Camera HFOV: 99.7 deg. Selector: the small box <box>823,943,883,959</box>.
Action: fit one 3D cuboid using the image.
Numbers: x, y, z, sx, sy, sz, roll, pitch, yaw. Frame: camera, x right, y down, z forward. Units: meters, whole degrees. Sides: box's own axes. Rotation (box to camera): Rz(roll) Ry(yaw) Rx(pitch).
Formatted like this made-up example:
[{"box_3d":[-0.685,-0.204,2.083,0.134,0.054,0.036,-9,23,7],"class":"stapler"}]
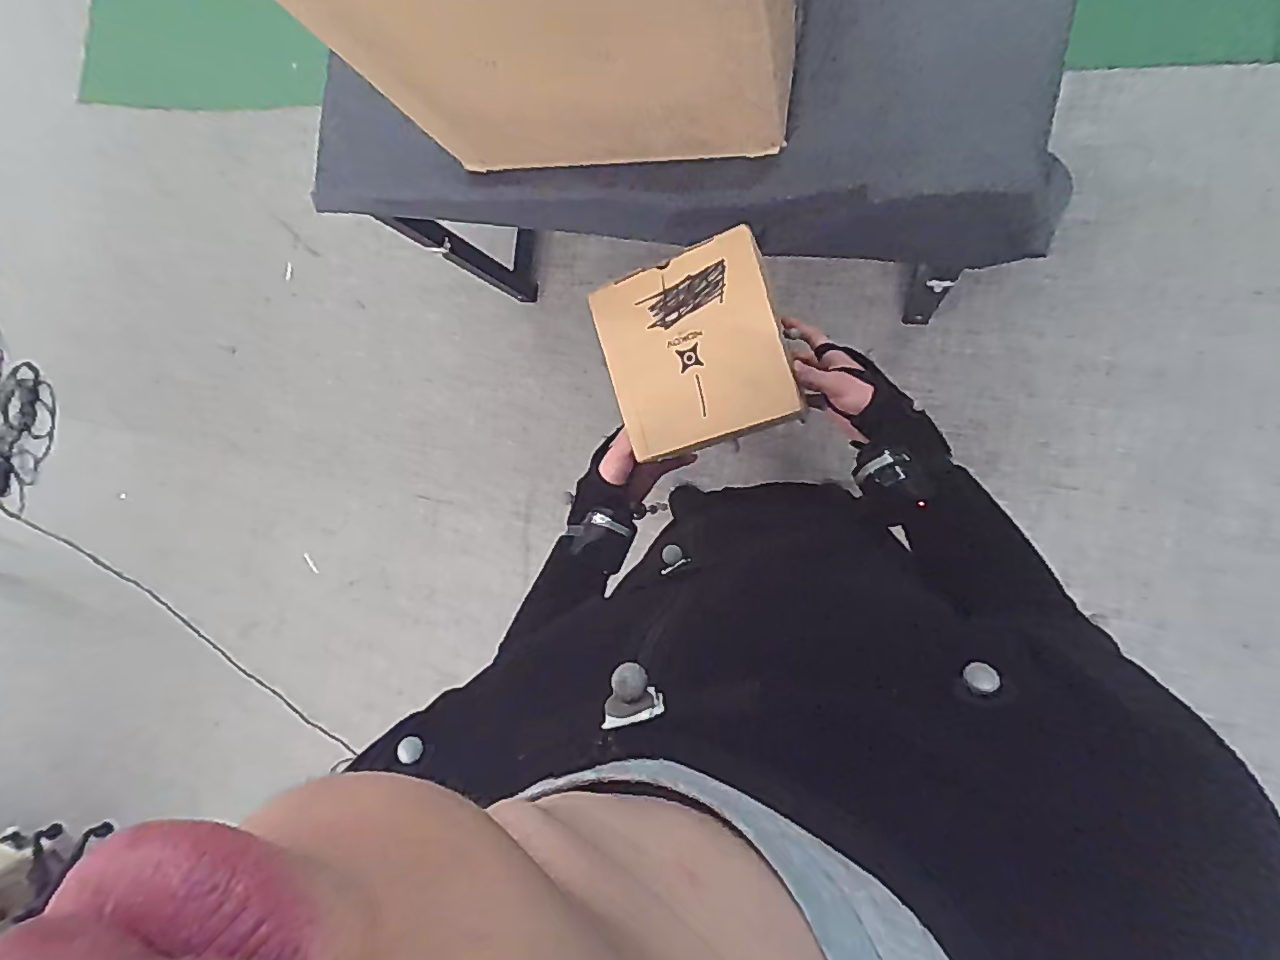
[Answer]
[{"box_3d":[0.558,1.347,1.384,0.168,0.176,0.179,-4,92,20],"class":"small box"}]
